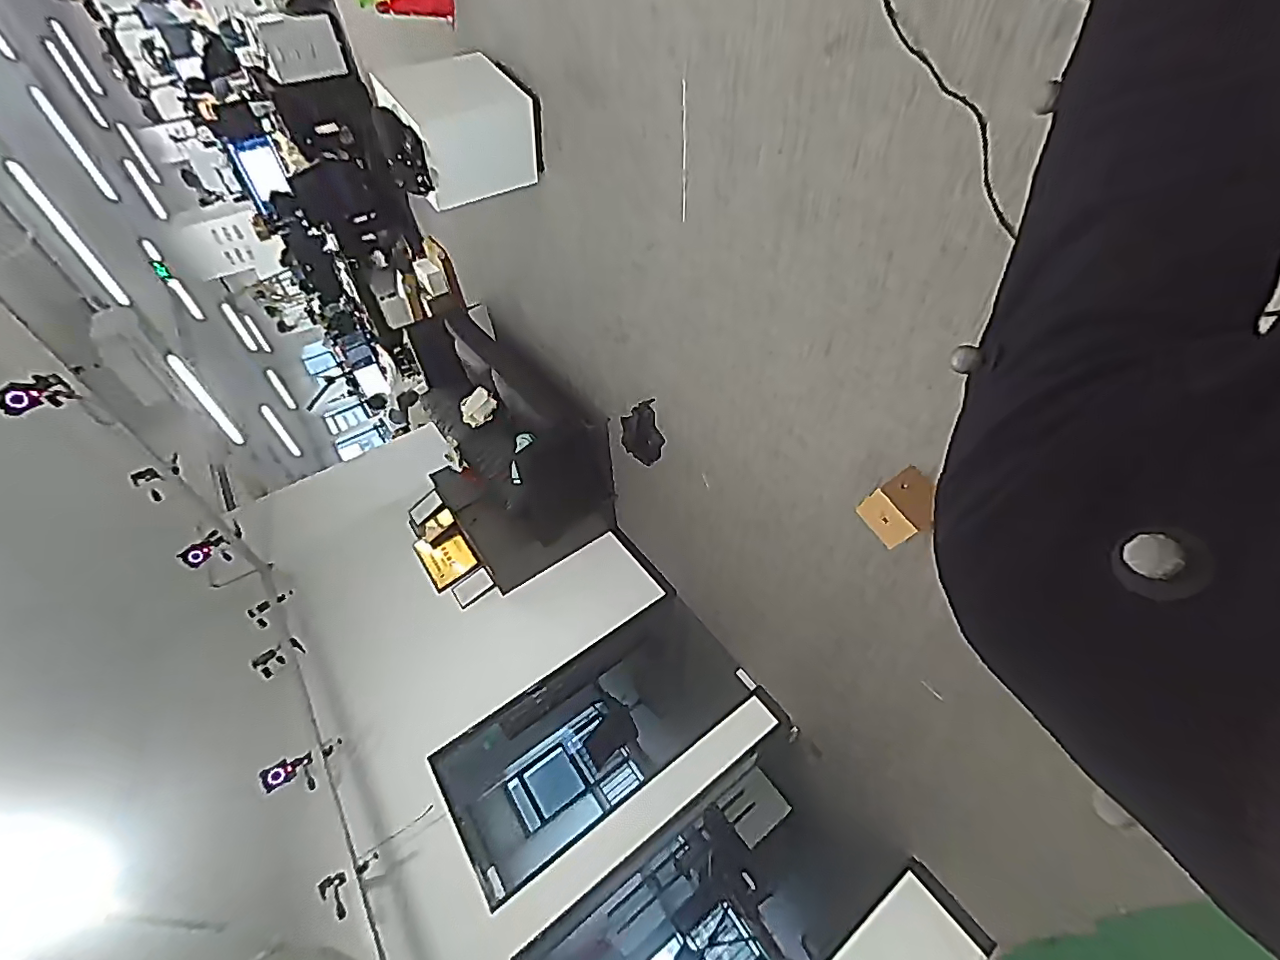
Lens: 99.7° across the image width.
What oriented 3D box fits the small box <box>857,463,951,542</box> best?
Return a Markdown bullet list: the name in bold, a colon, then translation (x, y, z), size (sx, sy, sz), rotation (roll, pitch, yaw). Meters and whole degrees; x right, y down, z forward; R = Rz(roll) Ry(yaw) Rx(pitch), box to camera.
- **small box**: translation (0.858, 0.068, 1.760), size (0.179, 0.176, 0.168), rotation (52, 158, 18)
